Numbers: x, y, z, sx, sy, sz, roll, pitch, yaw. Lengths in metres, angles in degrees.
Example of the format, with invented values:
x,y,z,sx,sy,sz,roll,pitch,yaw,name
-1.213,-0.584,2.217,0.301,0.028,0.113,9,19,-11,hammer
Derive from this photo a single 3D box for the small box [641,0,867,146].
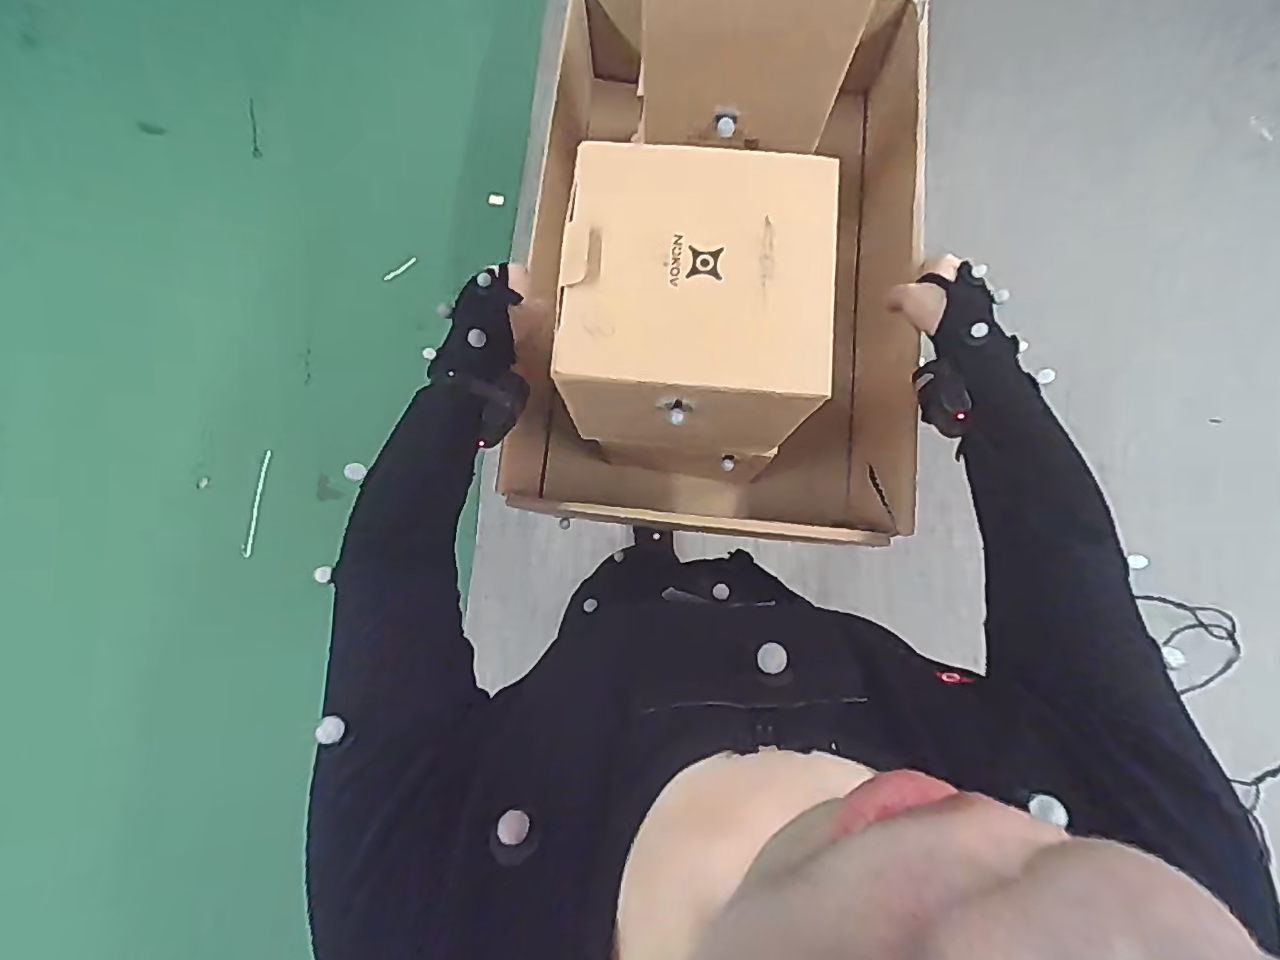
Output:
x,y,z,sx,sy,sz,roll,pitch,yaw,name
0.091,-0.423,0.467,0.168,0.176,0.179,6,83,1,small box

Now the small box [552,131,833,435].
x,y,z,sx,sy,sz,roll,pitch,yaw,name
0.036,-0.137,0.431,0.179,0.176,0.168,5,82,0,small box
